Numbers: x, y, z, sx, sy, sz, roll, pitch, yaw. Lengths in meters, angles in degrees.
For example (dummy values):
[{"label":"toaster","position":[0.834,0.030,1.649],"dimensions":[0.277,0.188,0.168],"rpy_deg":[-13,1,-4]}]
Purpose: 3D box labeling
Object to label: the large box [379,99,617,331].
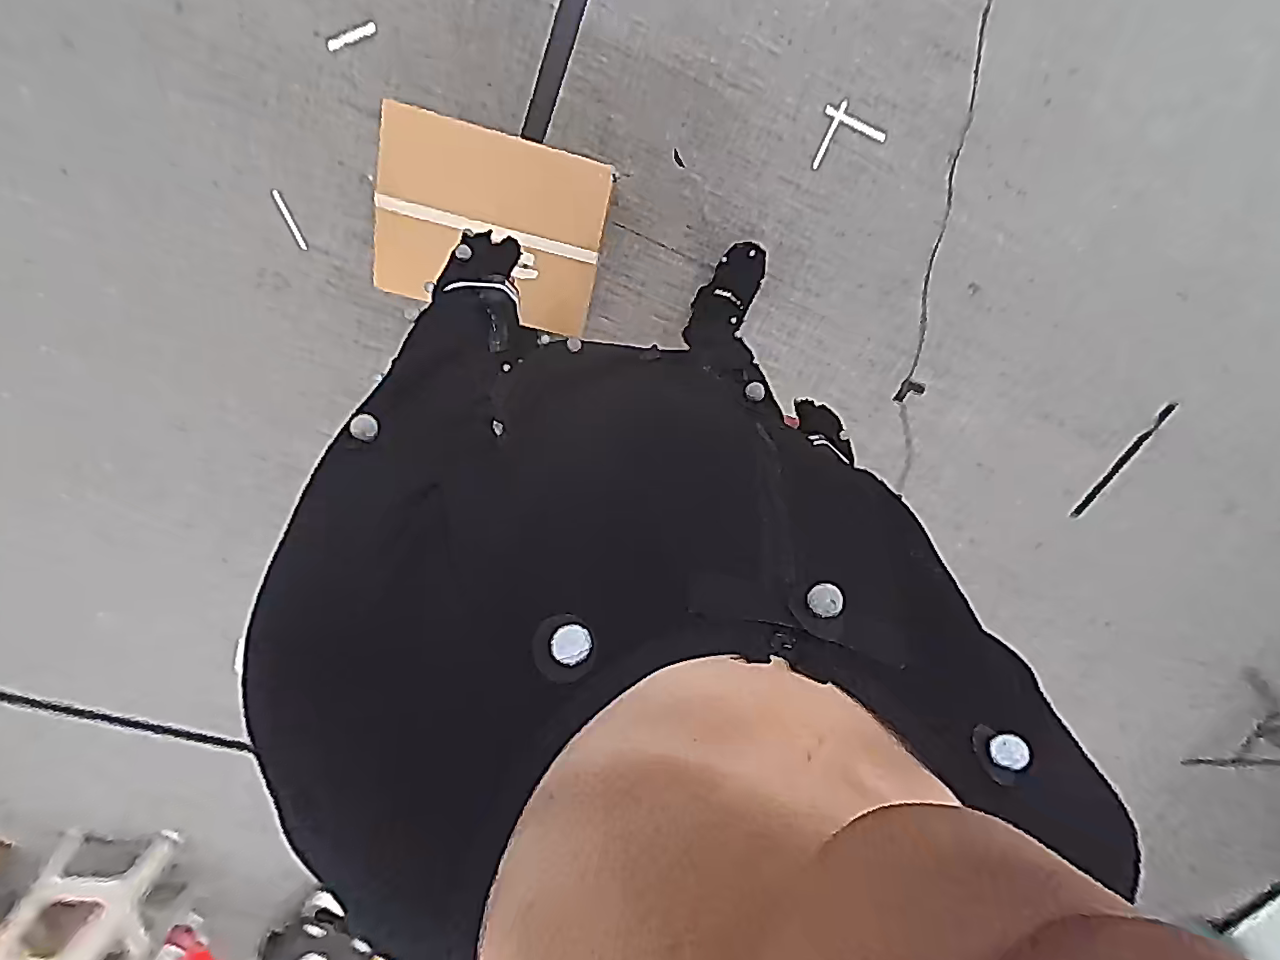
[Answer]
[{"label":"large box","position":[-0.280,-0.531,1.131],"dimensions":[0.408,0.320,0.320],"rpy_deg":[12,114,-9]}]
